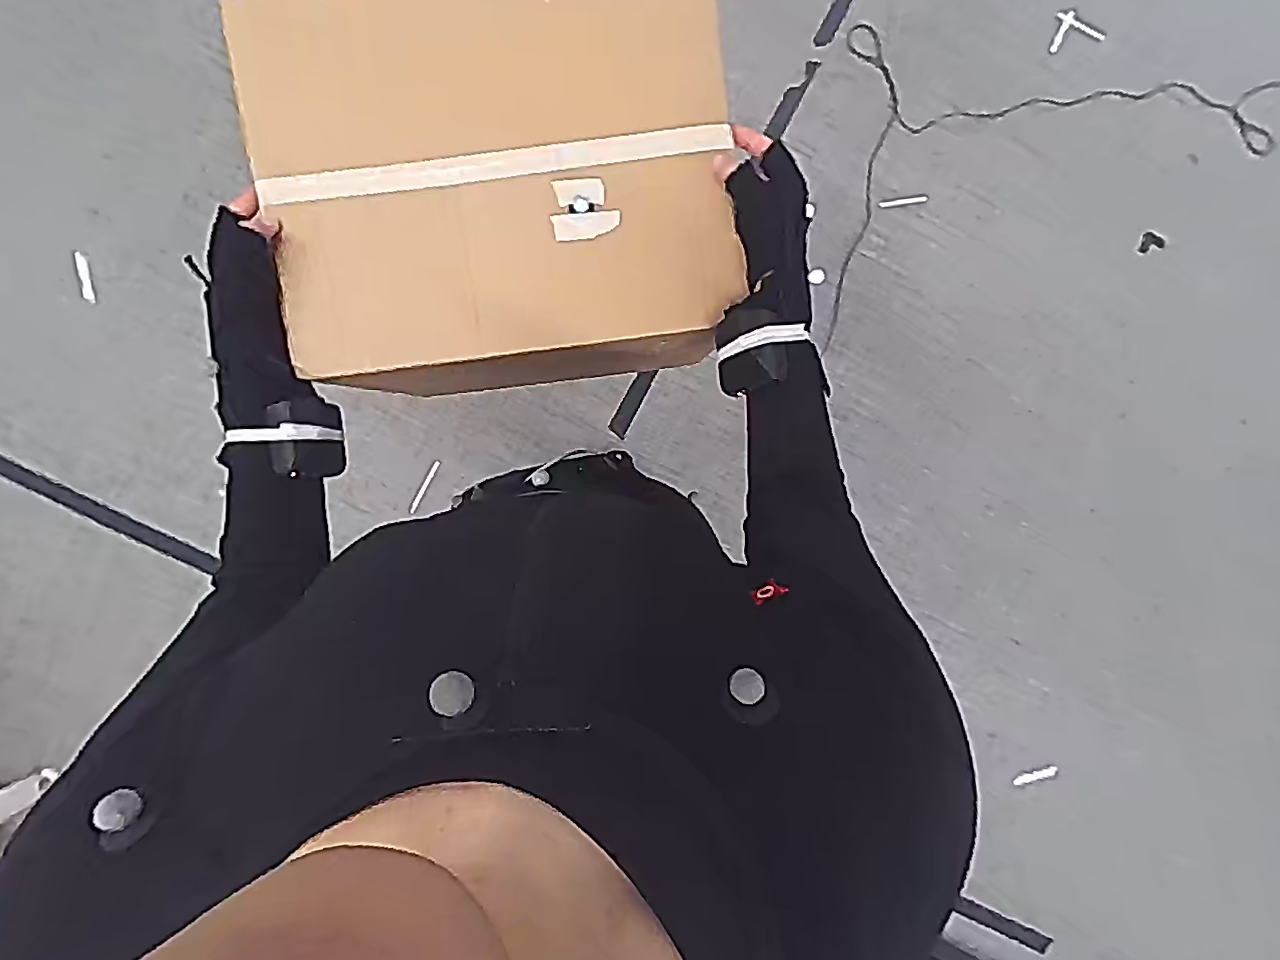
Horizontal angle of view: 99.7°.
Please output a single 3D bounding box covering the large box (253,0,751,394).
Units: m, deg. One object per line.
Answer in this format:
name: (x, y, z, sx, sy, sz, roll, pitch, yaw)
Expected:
large box: (-0.120, -0.283, 0.622, 0.408, 0.320, 0.320, -7, 97, -3)
